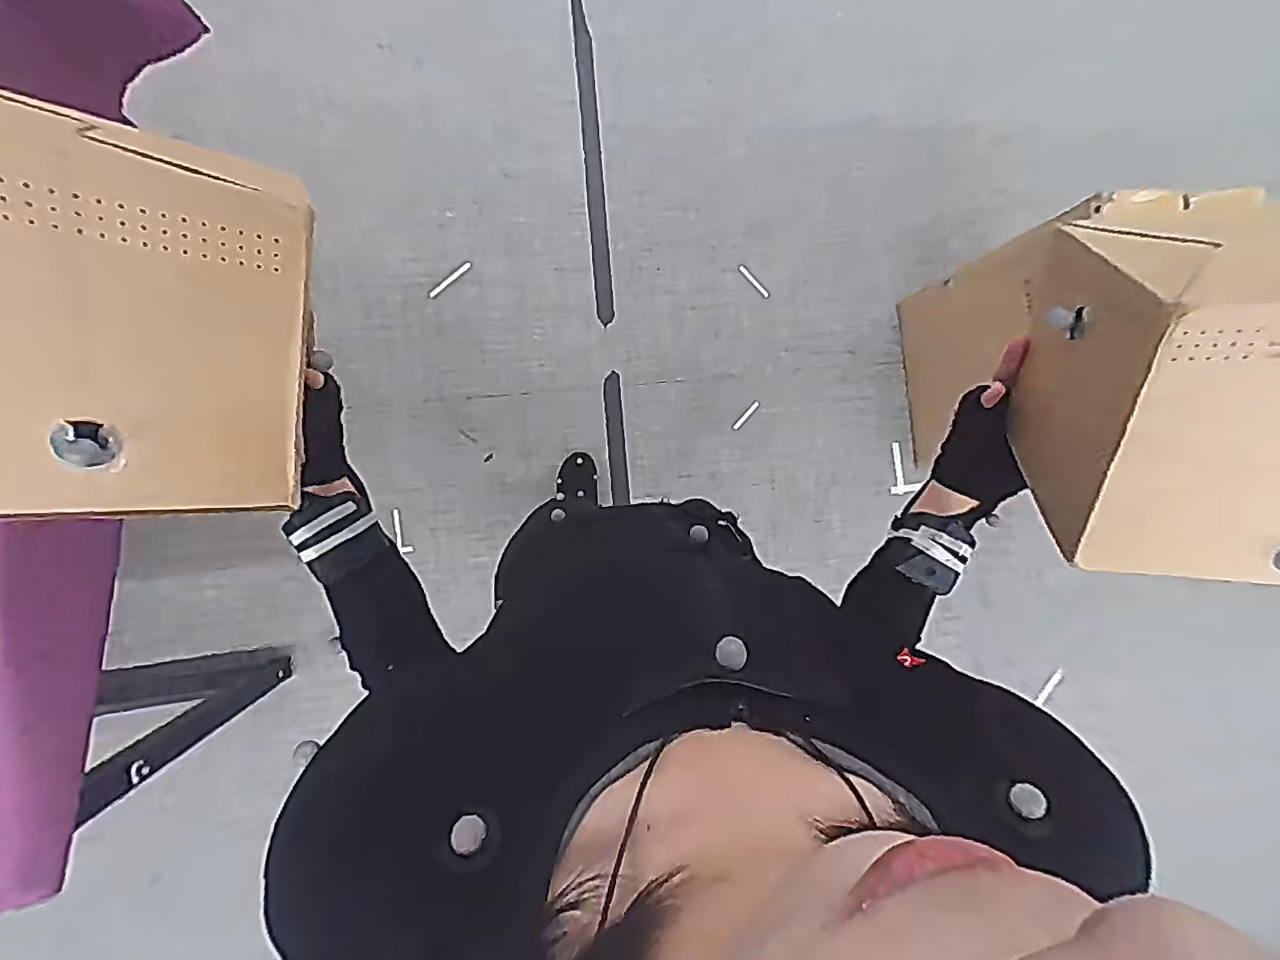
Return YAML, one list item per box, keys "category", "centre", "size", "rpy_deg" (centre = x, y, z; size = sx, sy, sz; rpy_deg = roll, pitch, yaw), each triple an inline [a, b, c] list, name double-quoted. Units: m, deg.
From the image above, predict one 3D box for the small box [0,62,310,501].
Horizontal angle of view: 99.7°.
- category: "small box"
  centre: [-0.280, -0.103, 0.285]
  size: [0.179, 0.168, 0.176]
  rpy_deg: [2, 117, -34]

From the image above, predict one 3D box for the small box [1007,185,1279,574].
- category: "small box"
  centre: [0.348, -0.066, 0.319]
  size: [0.168, 0.179, 0.176]
  rpy_deg: [2, 127, 20]
